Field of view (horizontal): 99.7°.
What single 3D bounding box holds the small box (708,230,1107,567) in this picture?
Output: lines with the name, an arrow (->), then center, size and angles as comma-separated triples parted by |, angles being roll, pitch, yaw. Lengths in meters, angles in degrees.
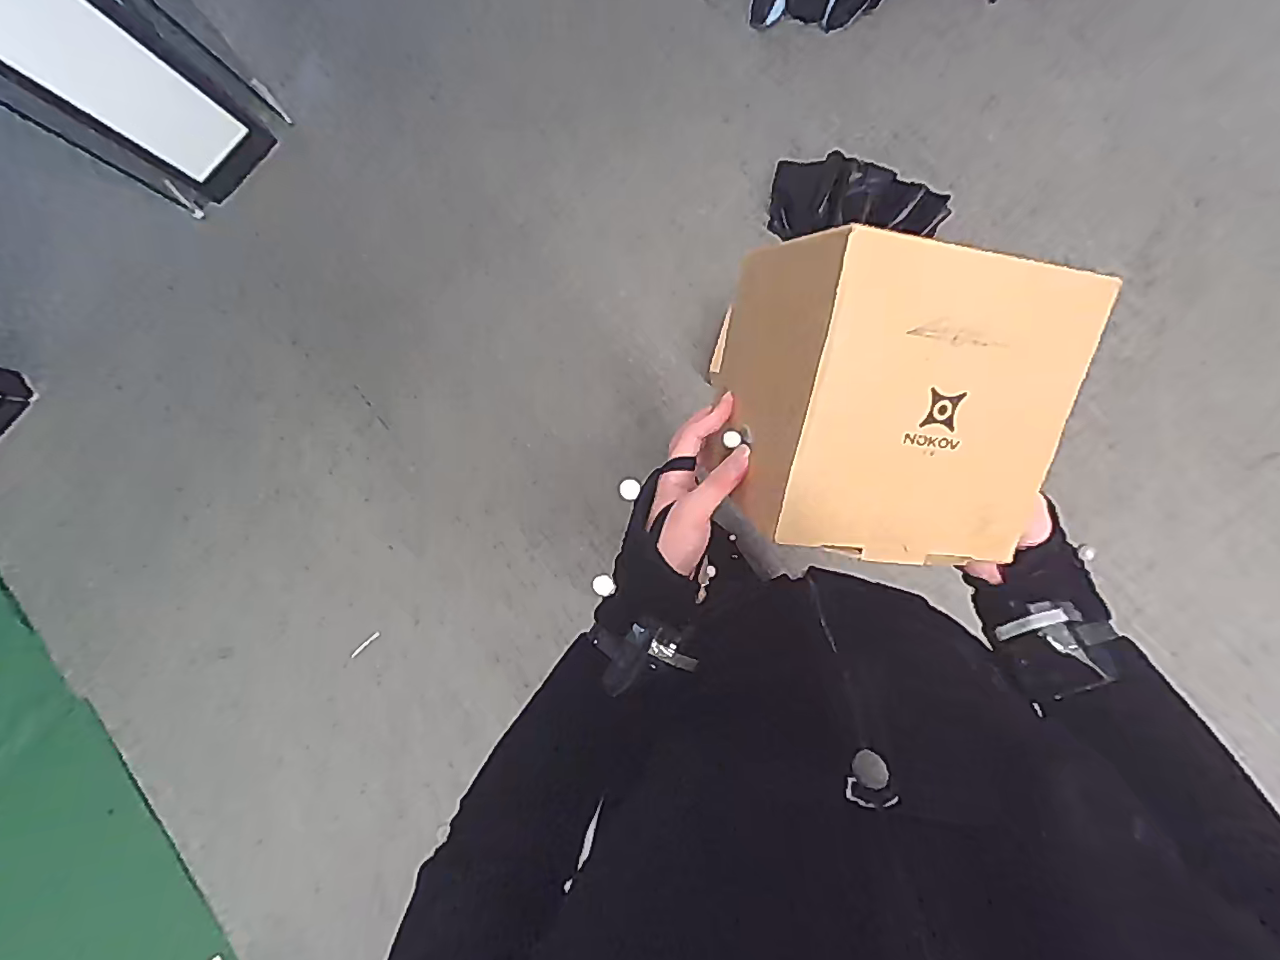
small box -> 0.155, -0.058, 0.383 | 0.168, 0.176, 0.179 | 6, 106, -11
